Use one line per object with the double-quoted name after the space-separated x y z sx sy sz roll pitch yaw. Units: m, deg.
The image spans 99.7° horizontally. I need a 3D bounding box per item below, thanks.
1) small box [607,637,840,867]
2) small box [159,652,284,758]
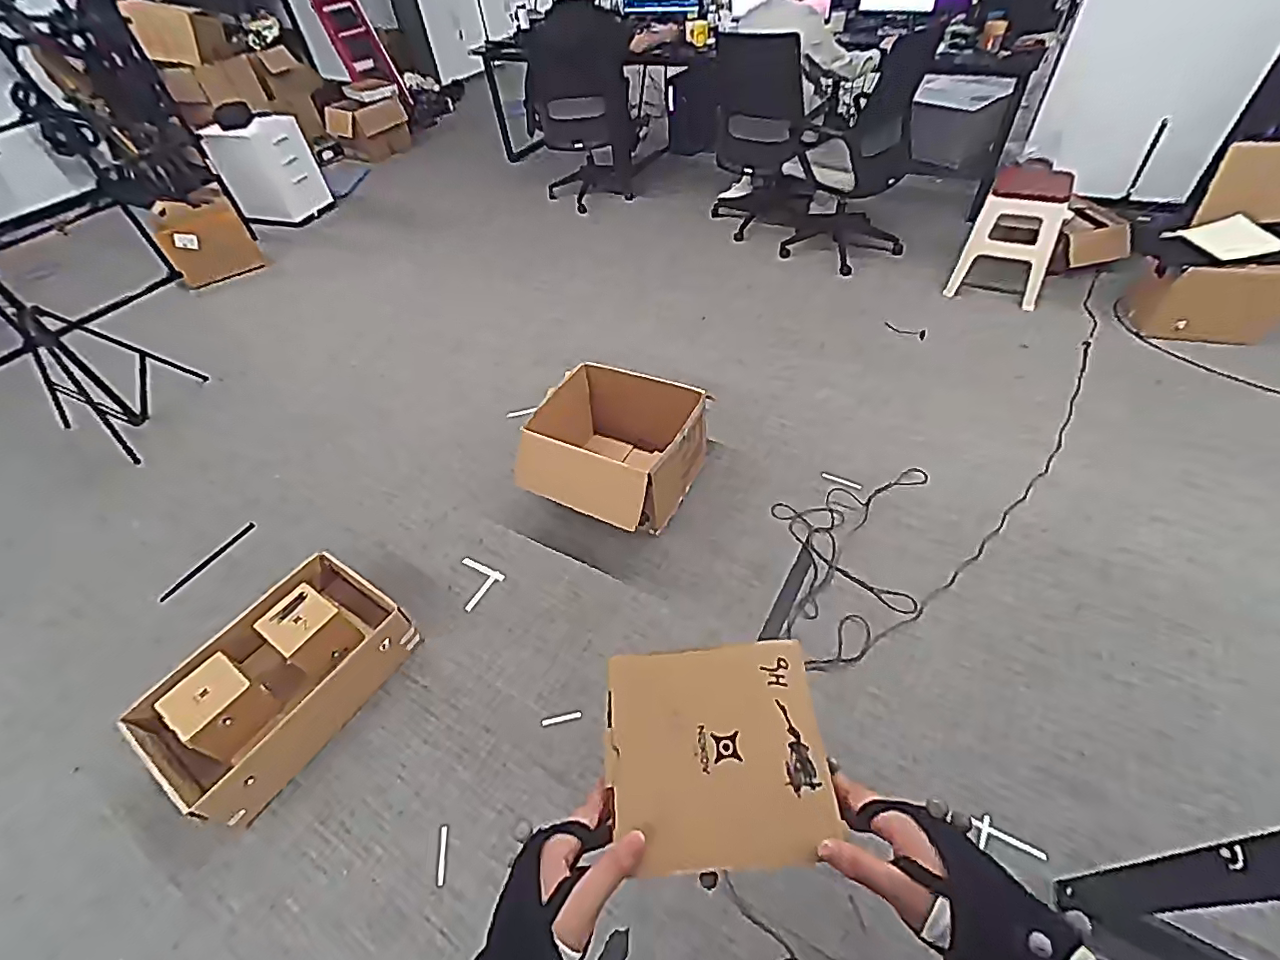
0.068 0.264 0.517 0.179 0.176 0.168 -6 55 2 "small box"
-1.110 0.606 1.446 0.168 0.176 0.179 26 54 24 "small box"
